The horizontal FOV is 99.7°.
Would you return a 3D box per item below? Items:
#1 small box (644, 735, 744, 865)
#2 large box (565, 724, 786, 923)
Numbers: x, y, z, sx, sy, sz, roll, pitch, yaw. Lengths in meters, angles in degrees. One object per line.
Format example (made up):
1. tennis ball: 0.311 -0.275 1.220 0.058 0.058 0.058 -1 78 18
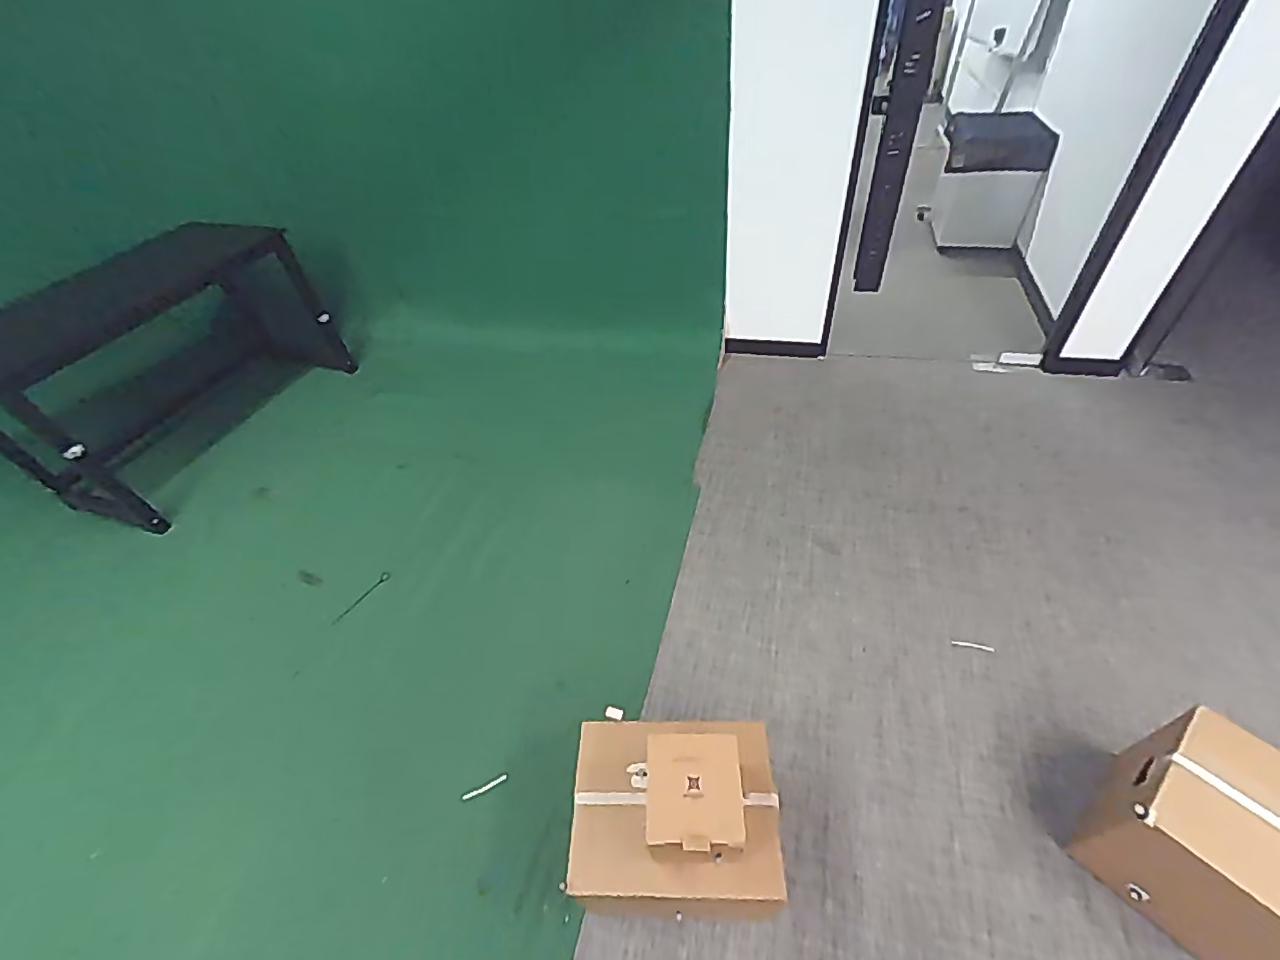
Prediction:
1. small box: 0.099 0.583 0.984 0.168 0.176 0.179 -2 46 5
2. large box: 0.079 0.748 1.170 0.408 0.320 0.320 -3 44 5
